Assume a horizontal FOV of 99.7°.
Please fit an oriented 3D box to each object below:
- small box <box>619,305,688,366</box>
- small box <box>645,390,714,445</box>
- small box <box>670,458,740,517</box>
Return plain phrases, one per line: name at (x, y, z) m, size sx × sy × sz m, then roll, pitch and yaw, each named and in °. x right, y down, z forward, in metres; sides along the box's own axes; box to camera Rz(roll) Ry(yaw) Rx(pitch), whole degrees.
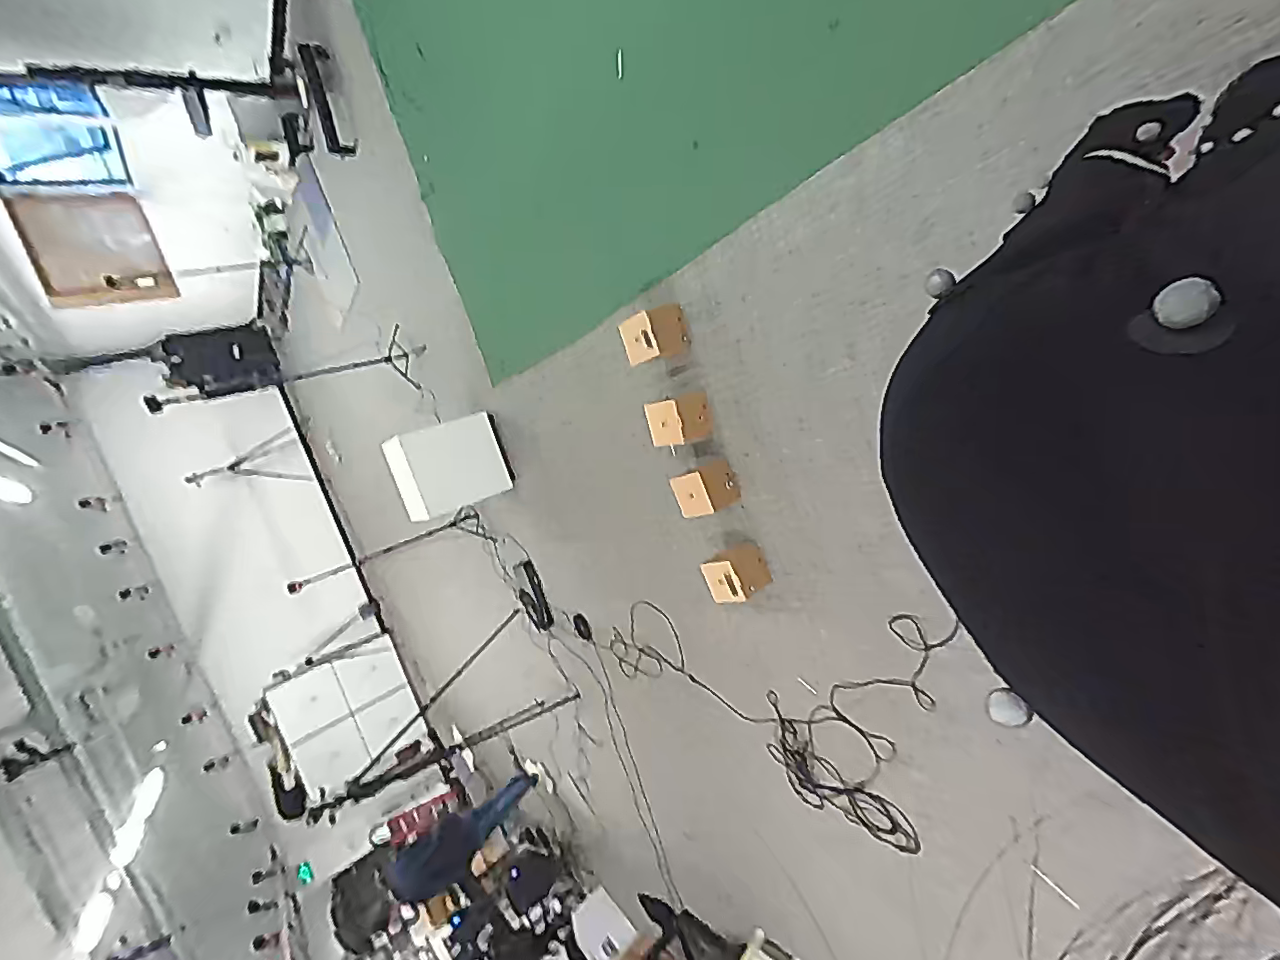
small box at (0.057, -0.539, 2.011) m, size 0.179 × 0.176 × 0.168 m, roll -10°, pitch 101°, yaw 53°
small box at (0.151, -0.237, 2.058) m, size 0.179 × 0.176 × 0.168 m, roll -3°, pitch 107°, yaw 51°
small box at (0.252, 0.029, 2.076) m, size 0.179 × 0.176 × 0.168 m, roll -17°, pitch 97°, yaw 51°
